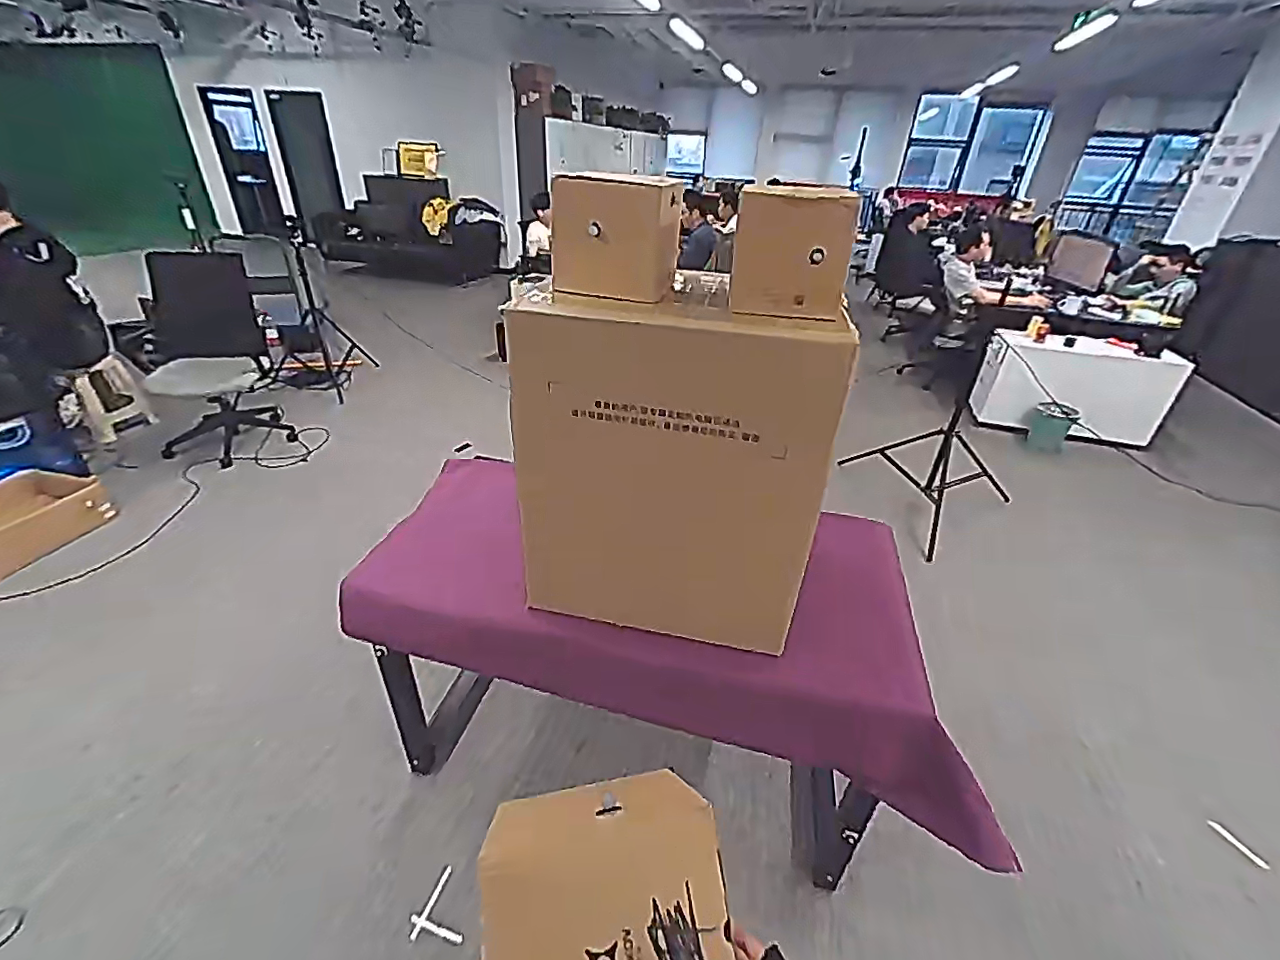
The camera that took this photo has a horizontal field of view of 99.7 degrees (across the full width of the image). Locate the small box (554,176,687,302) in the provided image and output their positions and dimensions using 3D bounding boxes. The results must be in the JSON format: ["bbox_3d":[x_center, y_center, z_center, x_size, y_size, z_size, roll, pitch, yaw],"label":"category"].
[{"bbox_3d":[-0.029,-0.398,0.889,0.179,0.176,0.168,10,32,11],"label":"small box"}]

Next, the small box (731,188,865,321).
[{"bbox_3d":[0.236,-0.354,0.843,0.168,0.176,0.179,8,31,8],"label":"small box"}]

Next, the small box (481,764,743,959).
[{"bbox_3d":[-0.028,0.348,0.445,0.179,0.176,0.168,-6,71,-10],"label":"small box"}]
